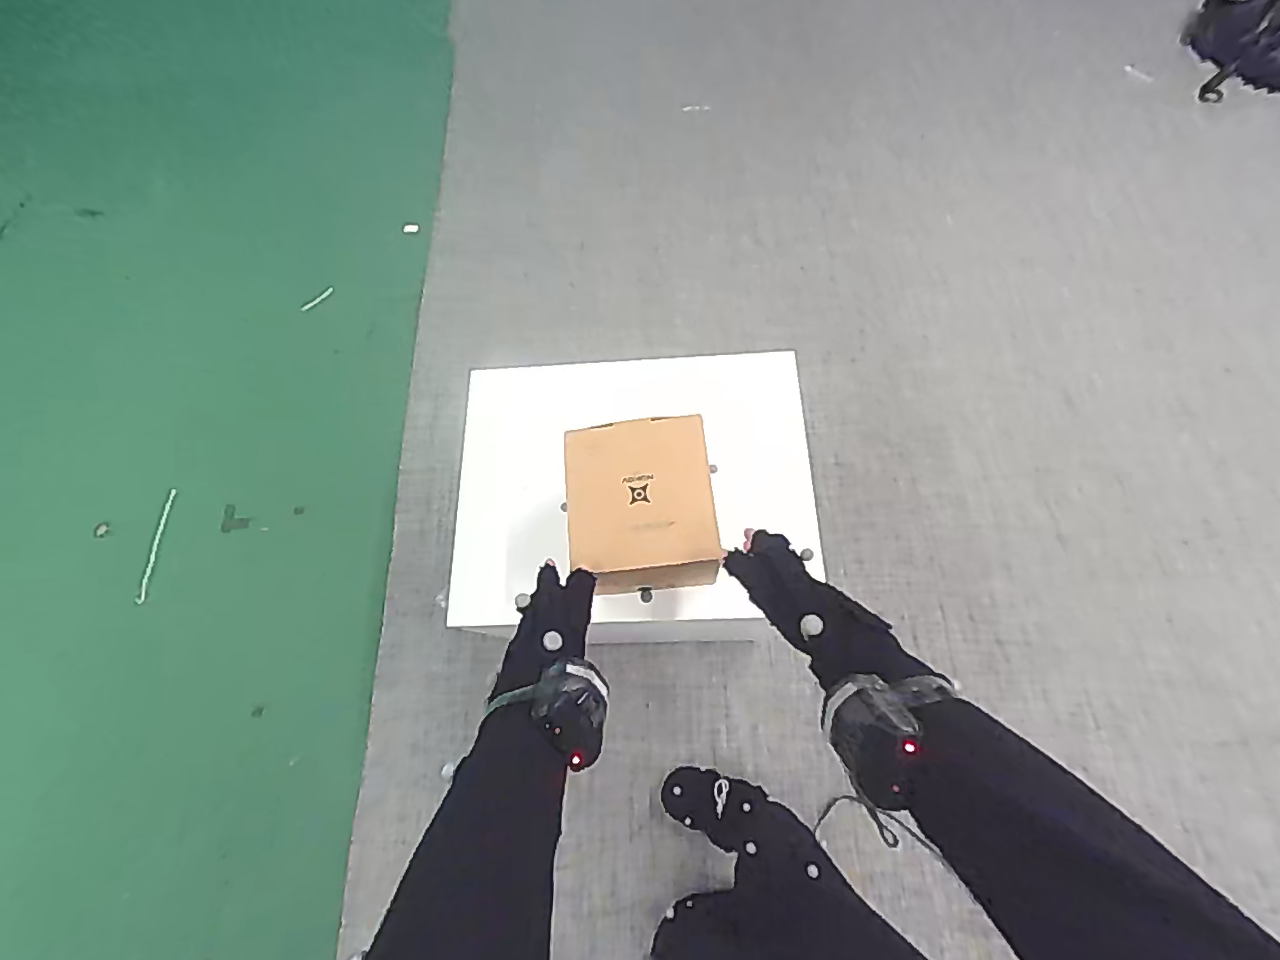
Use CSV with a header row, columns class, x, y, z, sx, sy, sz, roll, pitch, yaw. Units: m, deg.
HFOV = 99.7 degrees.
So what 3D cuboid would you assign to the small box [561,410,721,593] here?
class,x,y,z,sx,sy,sz,roll,pitch,yaw
small box,0.004,0.035,0.673,0.168,0.176,0.179,-8,71,4
